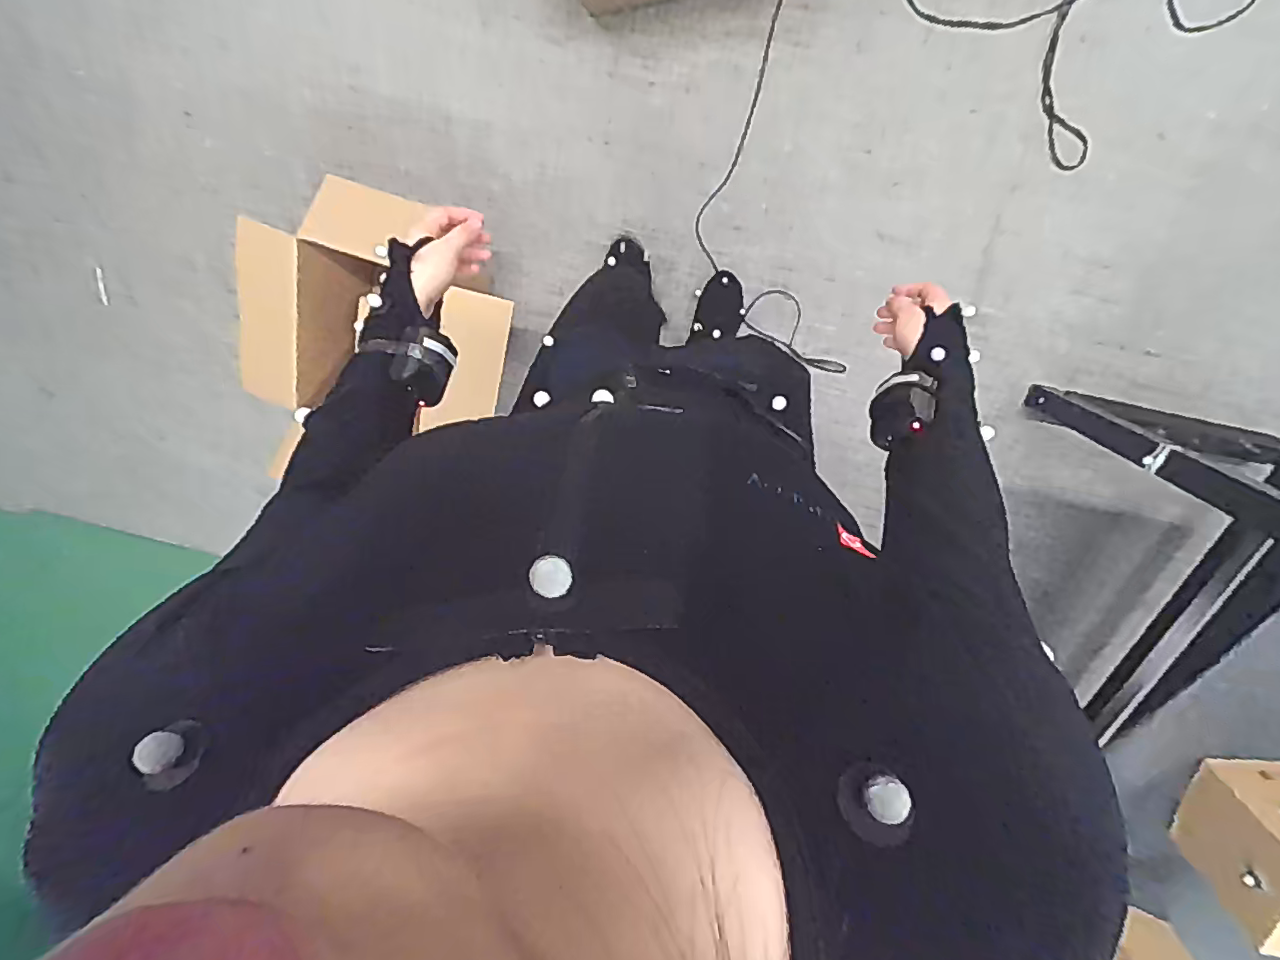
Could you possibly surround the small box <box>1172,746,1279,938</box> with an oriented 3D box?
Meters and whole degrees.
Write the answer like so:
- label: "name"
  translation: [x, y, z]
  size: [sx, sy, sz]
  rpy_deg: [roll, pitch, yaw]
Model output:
- label: "small box"
  translation: [0.910, 0.500, 0.753]
  size: [0.168, 0.176, 0.179]
  rpy_deg: [-1, 115, 10]
